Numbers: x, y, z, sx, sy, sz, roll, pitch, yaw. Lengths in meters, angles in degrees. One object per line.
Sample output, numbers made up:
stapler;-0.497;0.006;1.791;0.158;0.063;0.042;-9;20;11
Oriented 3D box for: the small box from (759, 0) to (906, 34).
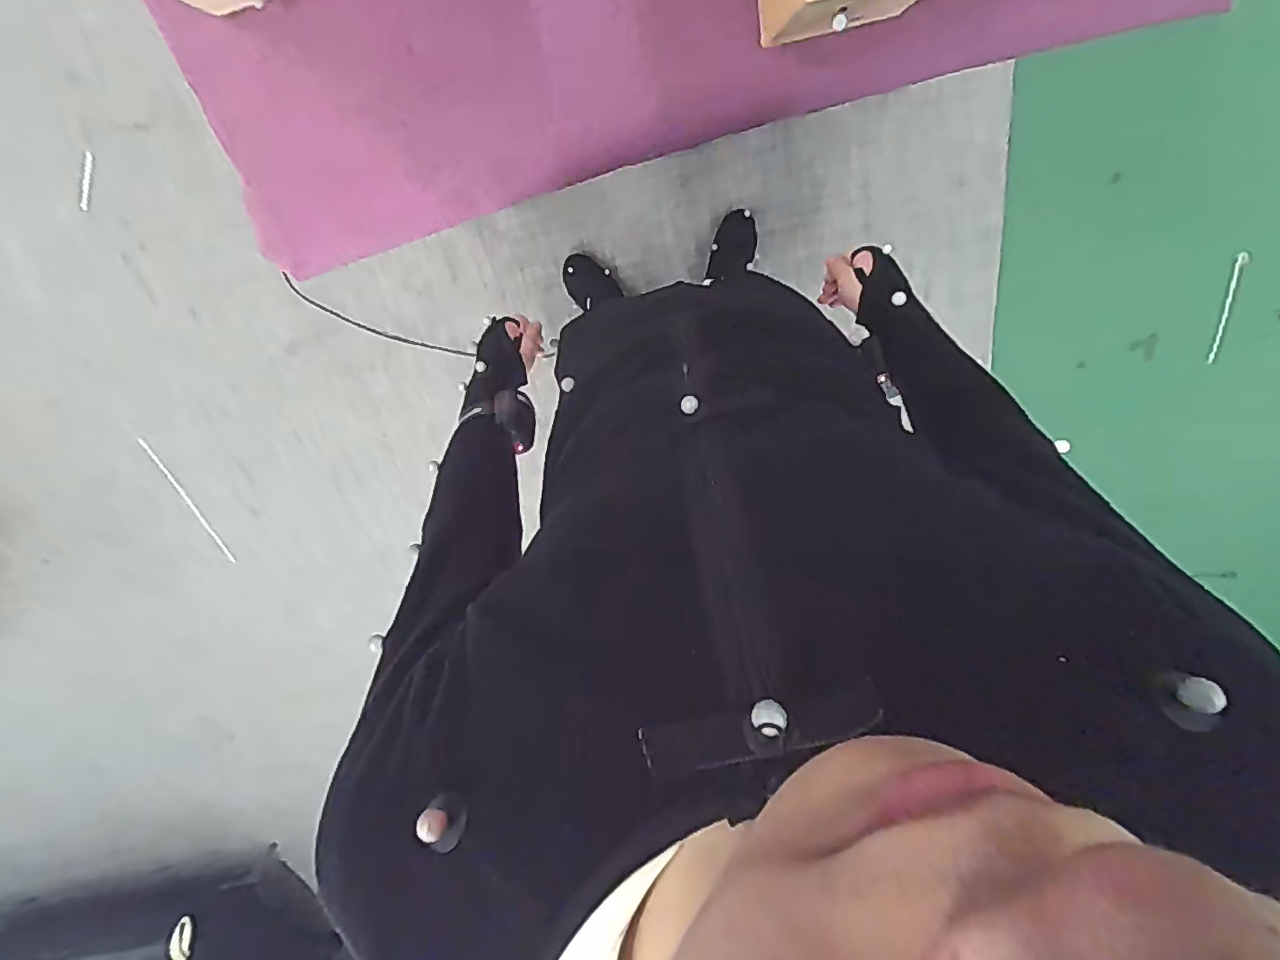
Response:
small box;0.209;-0.573;0.529;0.168;0.176;0.179;-11;116;4
